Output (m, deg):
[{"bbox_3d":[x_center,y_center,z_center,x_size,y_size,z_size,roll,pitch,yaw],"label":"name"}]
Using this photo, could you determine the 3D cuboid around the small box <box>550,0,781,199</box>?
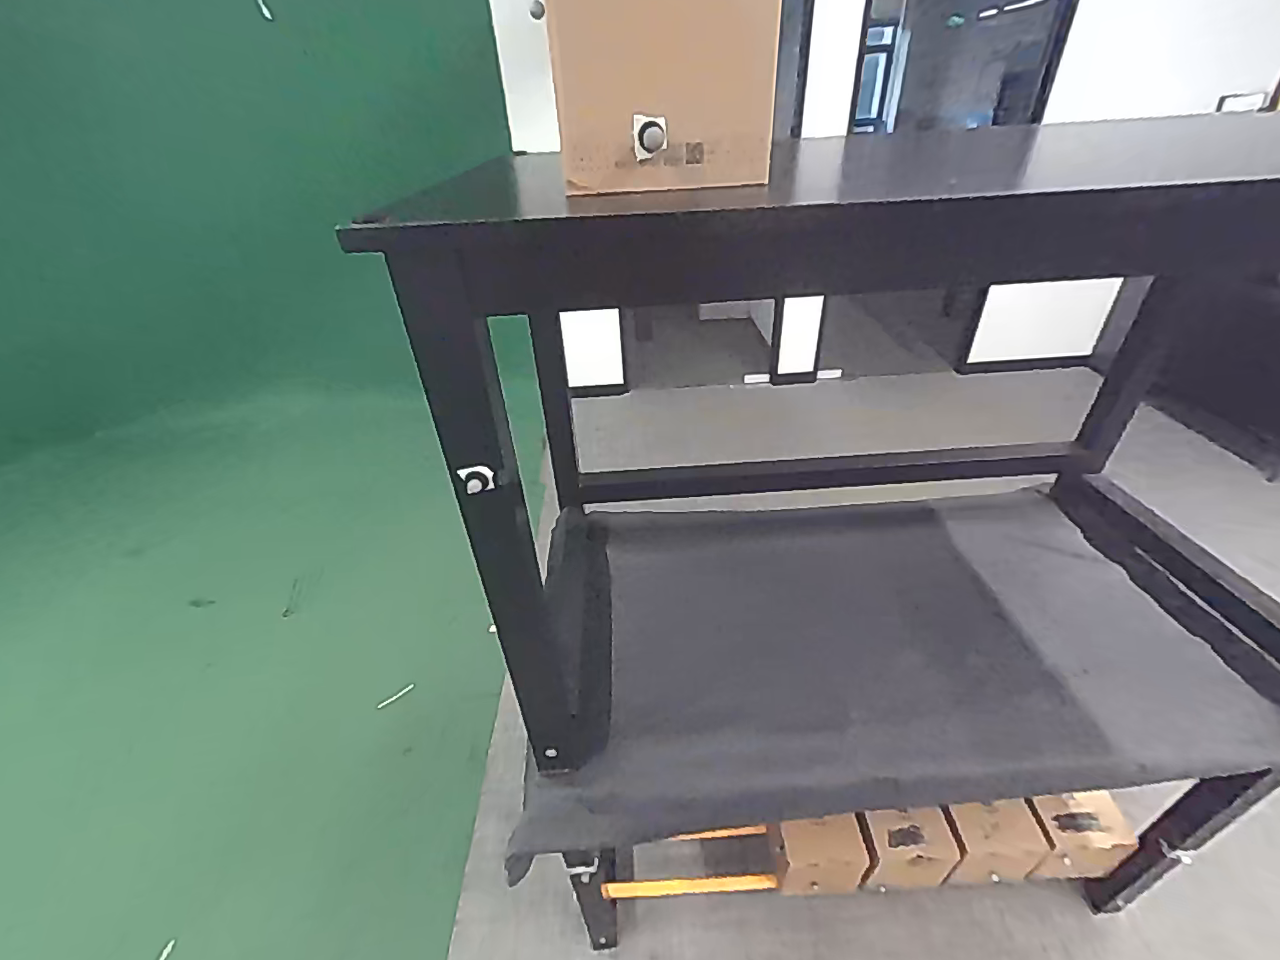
[{"bbox_3d":[0.012,-0.347,0.466,0.168,0.176,0.179,-6,35,-3],"label":"small box"}]
